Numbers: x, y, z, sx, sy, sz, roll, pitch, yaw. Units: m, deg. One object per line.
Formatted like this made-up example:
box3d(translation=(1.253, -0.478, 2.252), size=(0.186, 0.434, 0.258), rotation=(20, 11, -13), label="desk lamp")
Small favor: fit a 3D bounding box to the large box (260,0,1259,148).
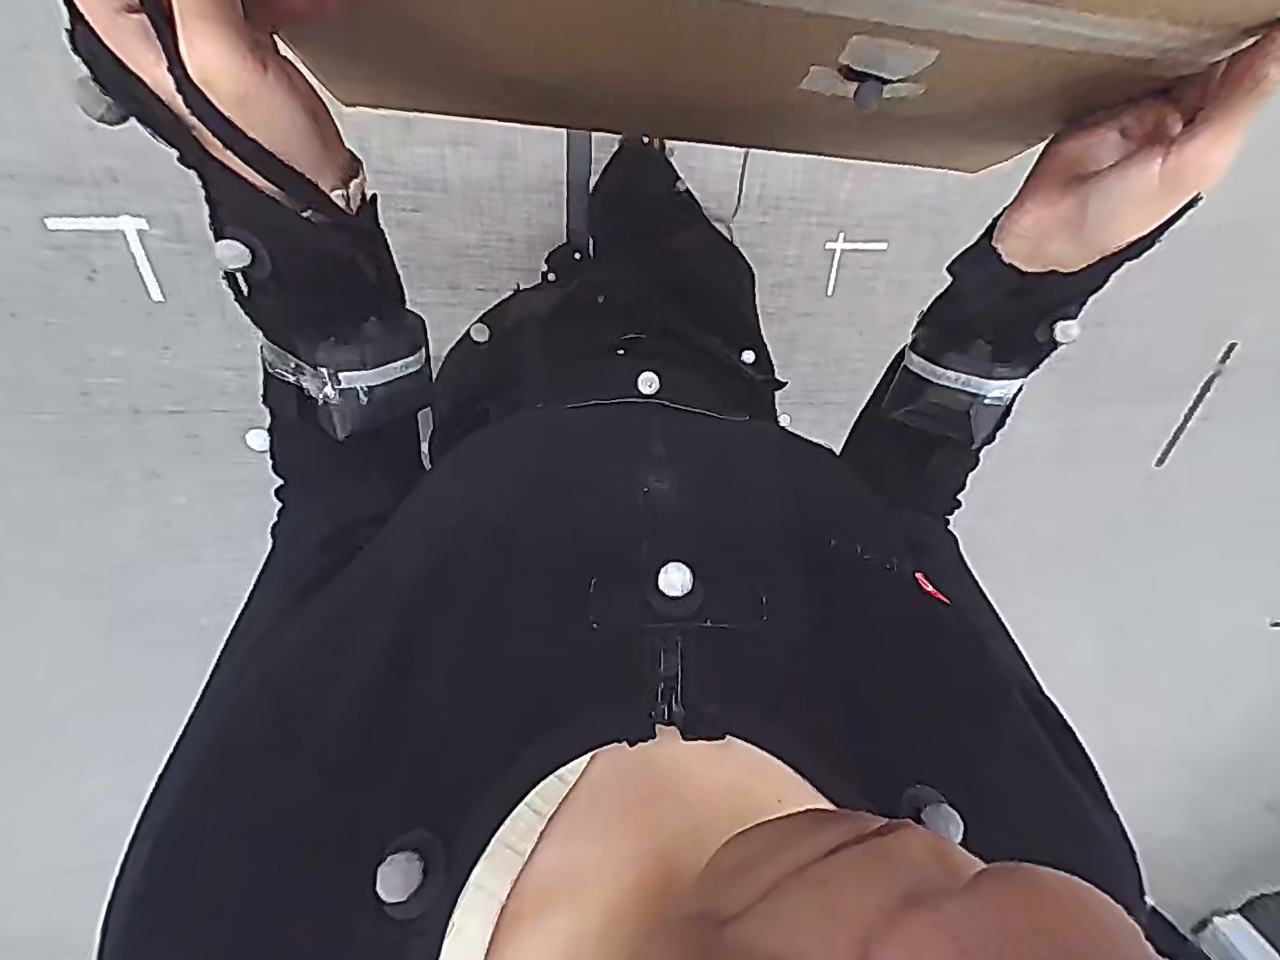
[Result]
box3d(translation=(0.045, -0.339, 0.162), size=(0.408, 0.320, 0.320), rotation=(0, 103, -7), label="large box")
